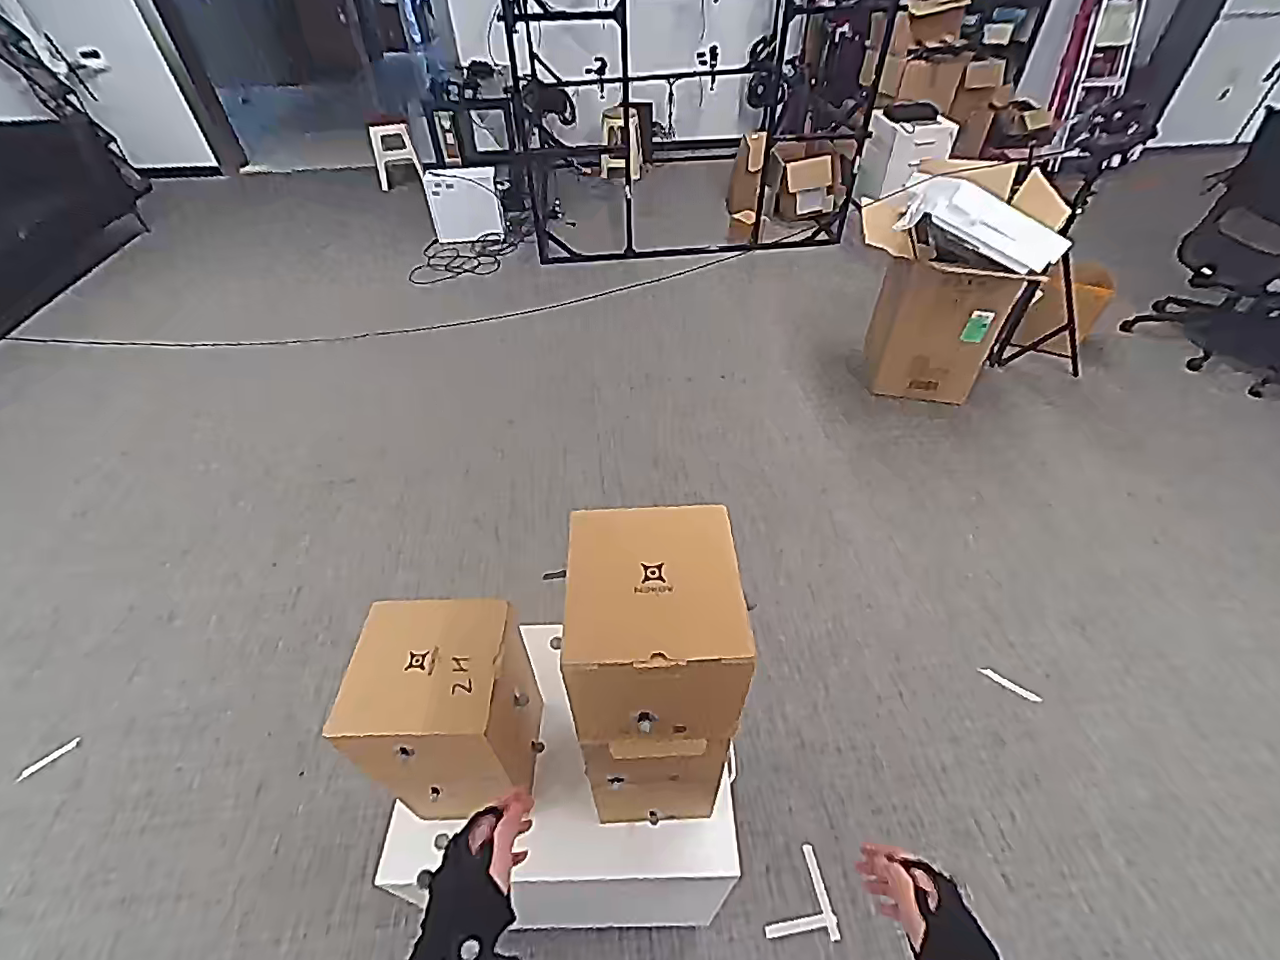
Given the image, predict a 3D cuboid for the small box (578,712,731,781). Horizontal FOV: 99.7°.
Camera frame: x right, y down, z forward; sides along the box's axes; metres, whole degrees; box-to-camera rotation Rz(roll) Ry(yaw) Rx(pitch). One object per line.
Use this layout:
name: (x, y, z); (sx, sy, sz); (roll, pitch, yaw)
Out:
small box: (0.017, 0.263, 0.680); (0.168, 0.176, 0.179); (-3, 45, -1)

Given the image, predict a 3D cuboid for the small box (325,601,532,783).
small box: (-0.245, 0.268, 0.679); (0.179, 0.176, 0.168); (-1, 46, 0)

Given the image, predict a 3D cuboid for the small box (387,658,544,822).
small box: (-0.242, 0.381, 0.799); (0.168, 0.176, 0.179); (-1, 44, 1)

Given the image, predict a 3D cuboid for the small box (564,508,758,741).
small box: (0.015, 0.149, 0.563); (0.168, 0.176, 0.179); (-3, 46, -1)
